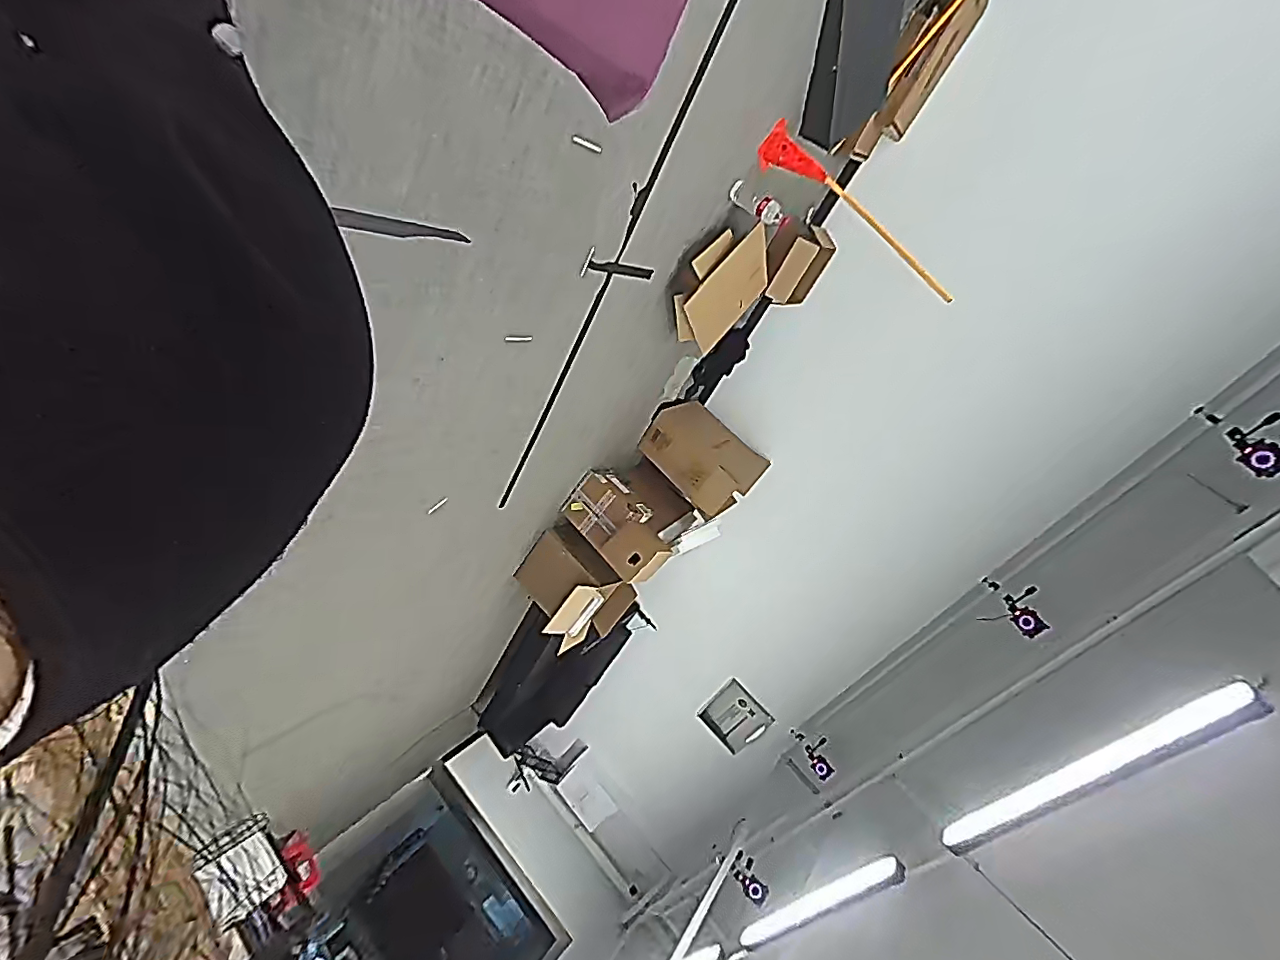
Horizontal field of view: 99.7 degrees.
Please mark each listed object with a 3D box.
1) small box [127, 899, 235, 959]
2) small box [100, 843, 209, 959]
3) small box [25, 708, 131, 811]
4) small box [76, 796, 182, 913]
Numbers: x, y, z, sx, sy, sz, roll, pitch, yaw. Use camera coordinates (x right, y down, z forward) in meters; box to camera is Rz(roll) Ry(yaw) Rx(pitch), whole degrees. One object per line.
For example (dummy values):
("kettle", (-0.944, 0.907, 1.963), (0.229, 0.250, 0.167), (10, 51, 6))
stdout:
("small box", (-1.192, 1.243, 1.399), (0.168, 0.176, 0.179), (-20, 148, -56))
("small box", (-1.305, 1.135, 1.450), (0.179, 0.176, 0.168), (-20, 147, -57))
("small box", (-1.648, 0.814, 1.592), (0.179, 0.176, 0.168), (-21, 148, -52))
("small box", (-1.418, 1.029, 1.497), (0.179, 0.176, 0.168), (-19, 148, -56))
